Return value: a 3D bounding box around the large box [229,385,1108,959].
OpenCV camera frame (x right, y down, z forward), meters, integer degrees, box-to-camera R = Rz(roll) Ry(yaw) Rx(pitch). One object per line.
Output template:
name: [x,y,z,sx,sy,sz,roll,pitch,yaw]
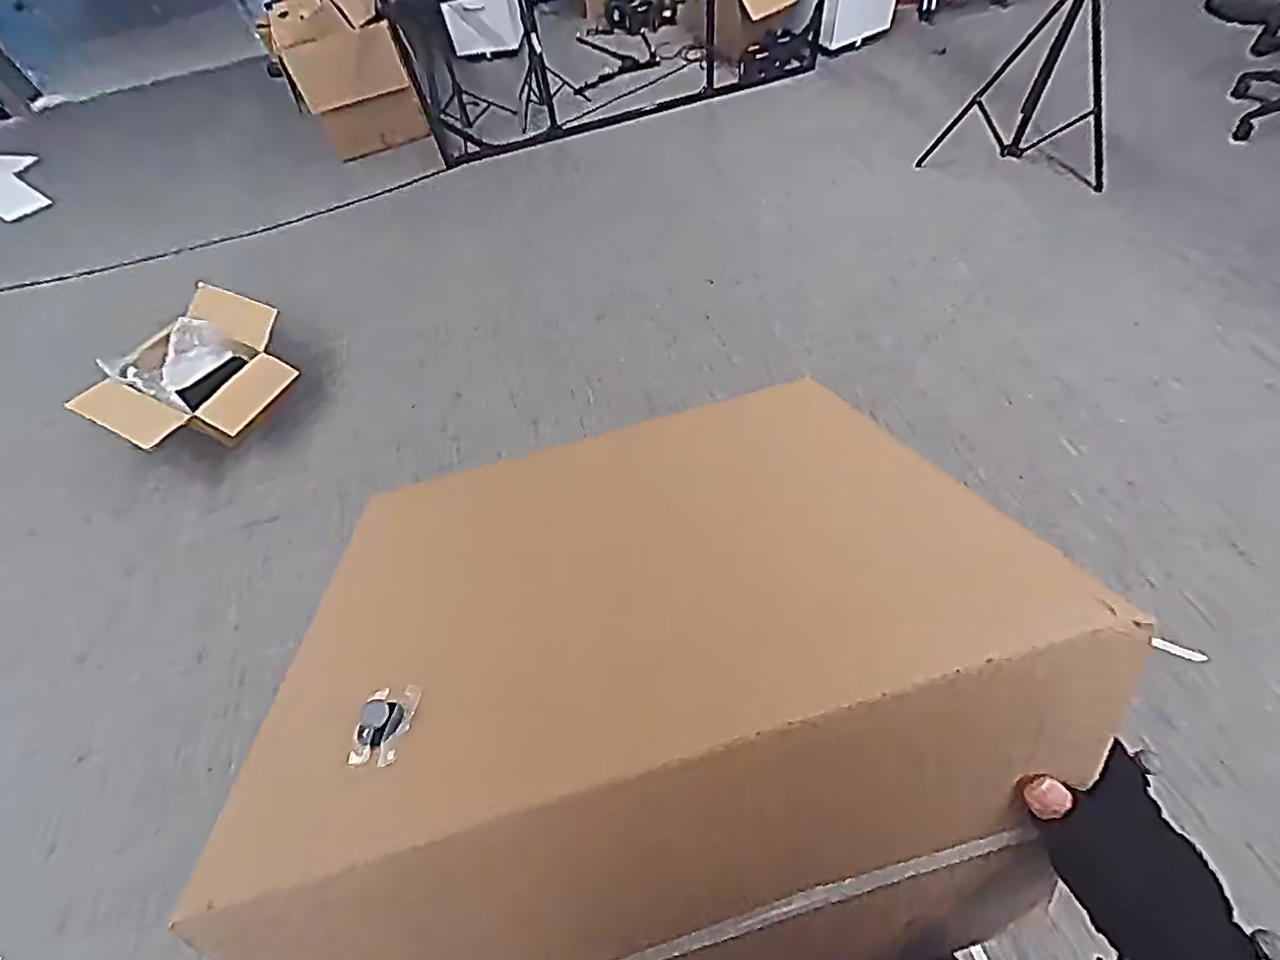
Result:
large box: [0.023,0.160,0.432,0.408,0.320,0.320,-16,32,-3]
